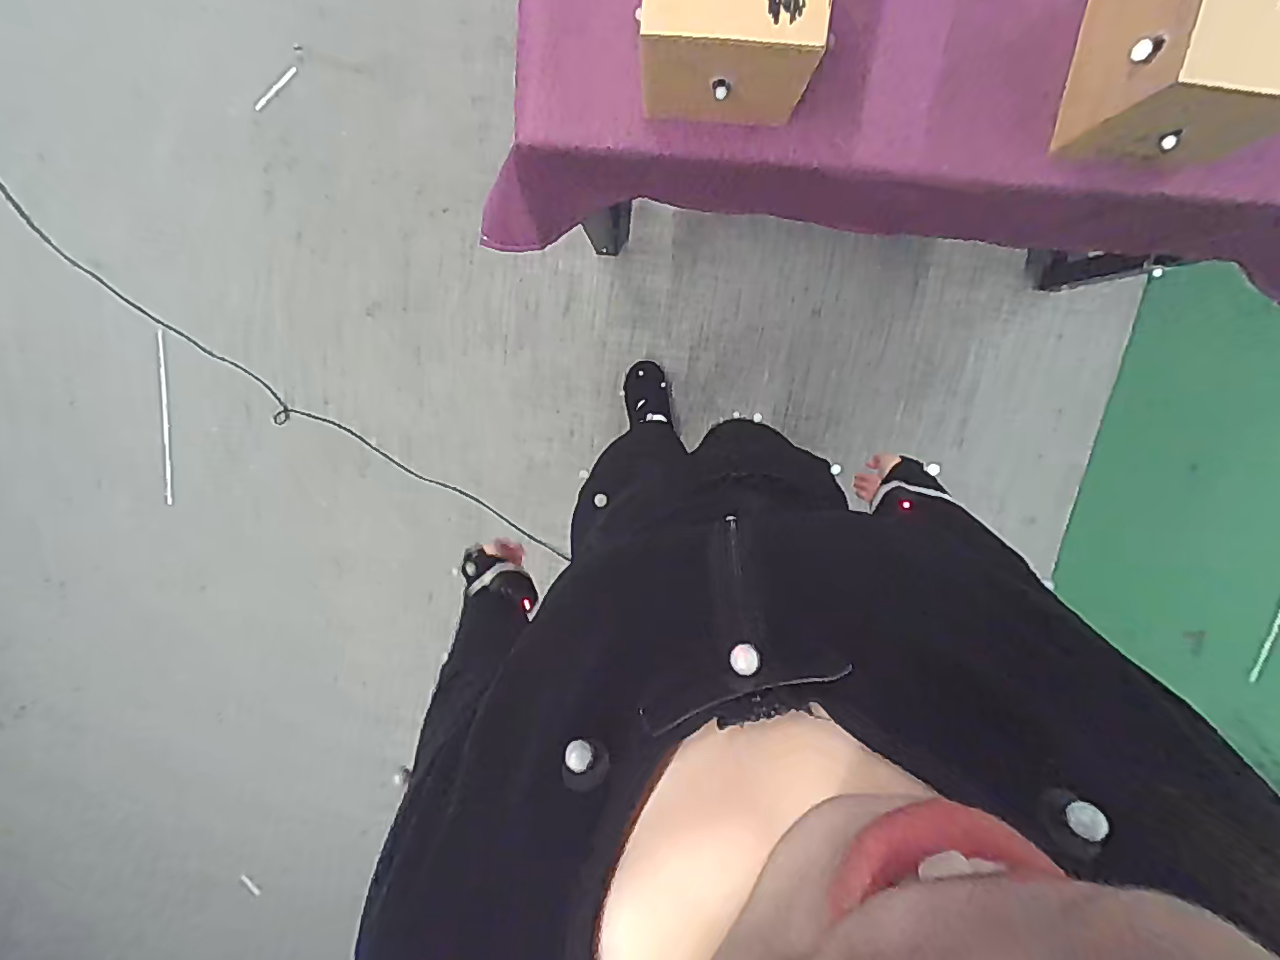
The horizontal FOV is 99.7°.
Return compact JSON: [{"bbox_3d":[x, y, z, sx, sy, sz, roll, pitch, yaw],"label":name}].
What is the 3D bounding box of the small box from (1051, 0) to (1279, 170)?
[{"bbox_3d":[0.582,-0.451,0.566,0.168,0.176,0.179,8,101,-1],"label":"small box"}]
